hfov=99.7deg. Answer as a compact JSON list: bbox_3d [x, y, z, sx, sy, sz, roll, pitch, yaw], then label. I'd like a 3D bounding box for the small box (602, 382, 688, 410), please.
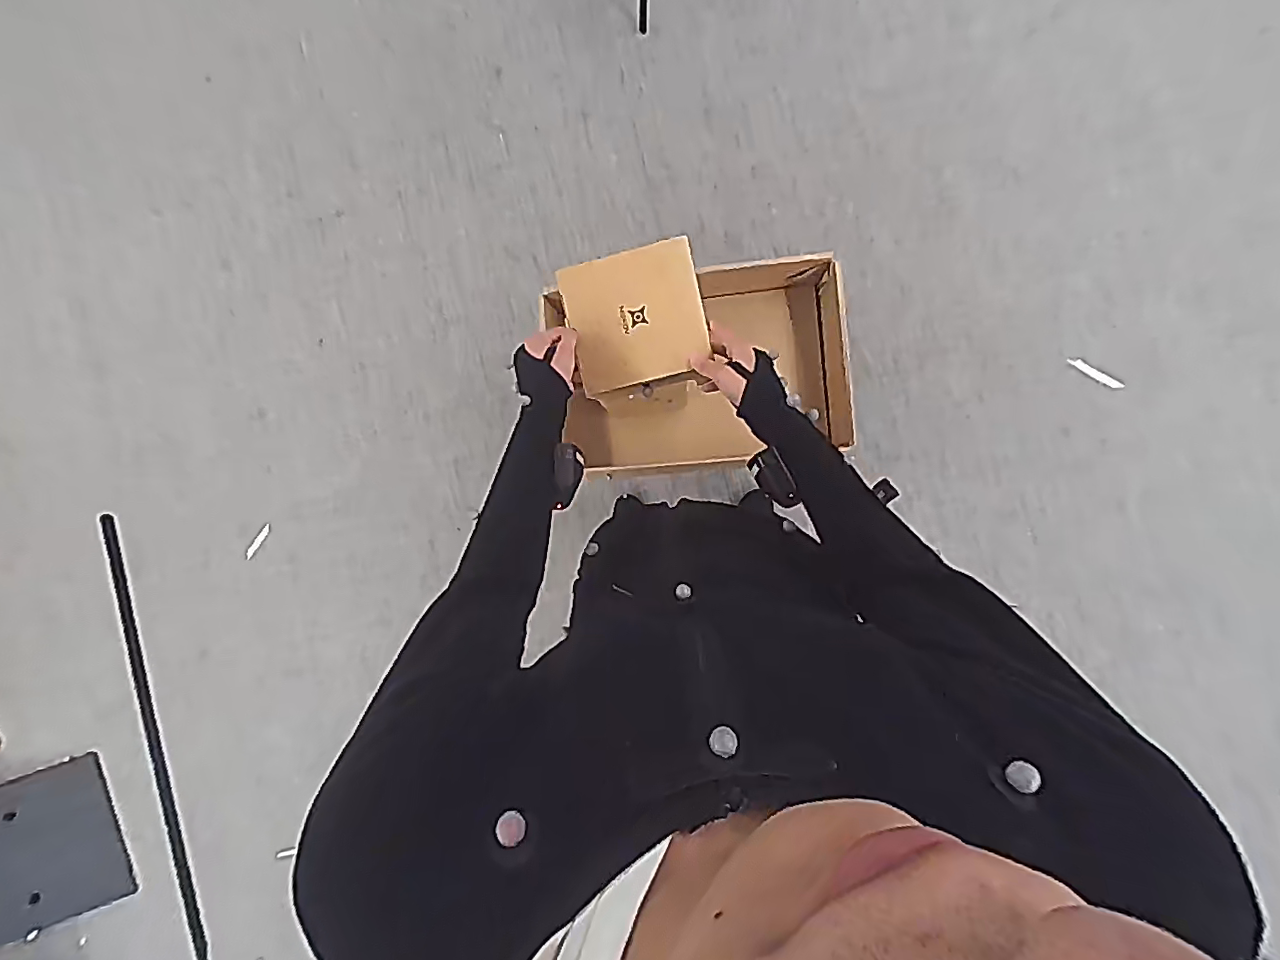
[{"bbox_3d":[-0.006,-0.237,0.992,0.168,0.176,0.179,-8,88,4],"label":"small box"}]

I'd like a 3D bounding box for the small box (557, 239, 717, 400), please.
[{"bbox_3d":[0.002,-0.212,0.763,0.179,0.176,0.168,-13,95,7],"label":"small box"}]
